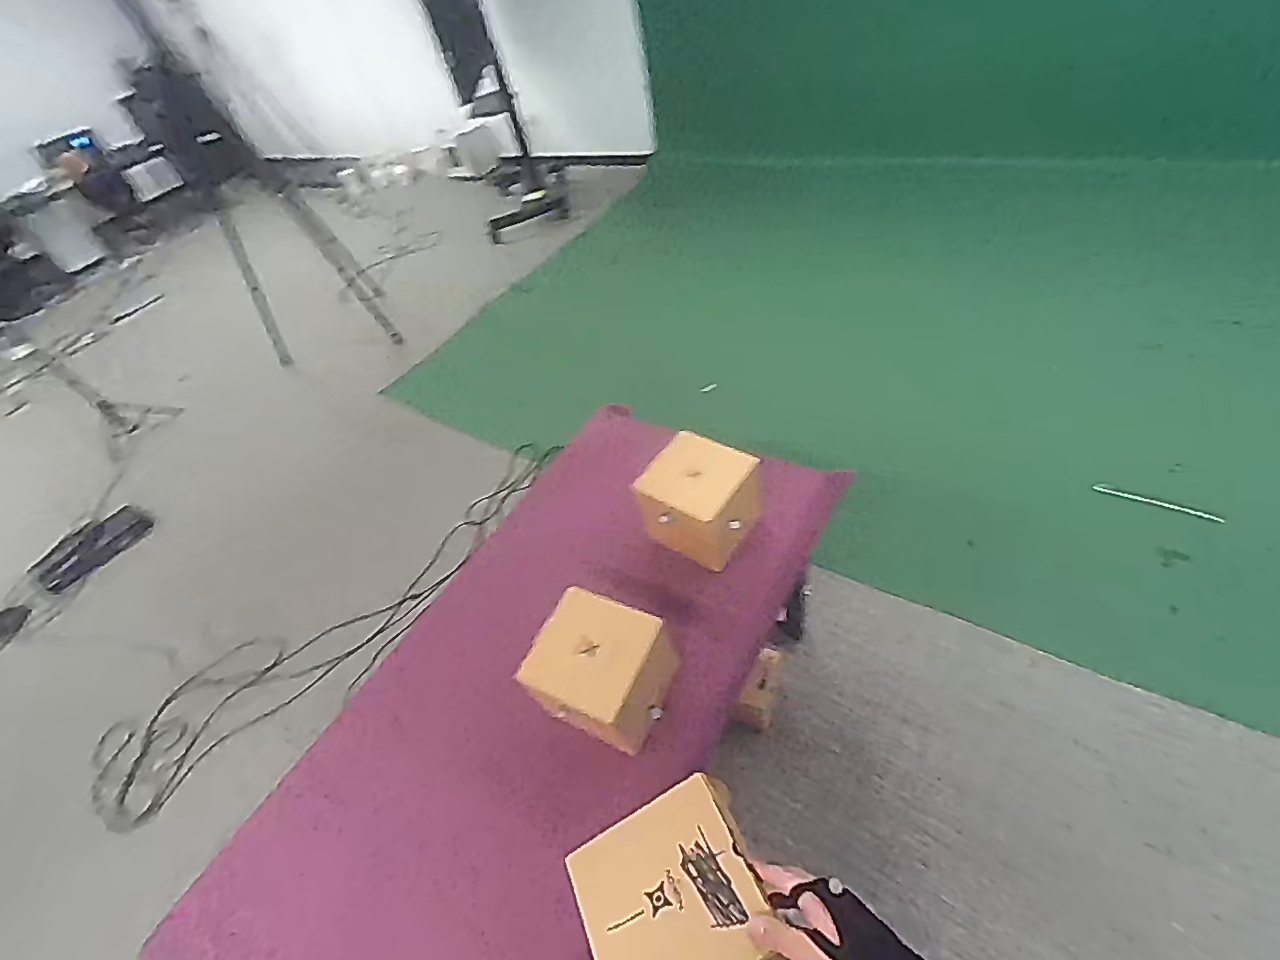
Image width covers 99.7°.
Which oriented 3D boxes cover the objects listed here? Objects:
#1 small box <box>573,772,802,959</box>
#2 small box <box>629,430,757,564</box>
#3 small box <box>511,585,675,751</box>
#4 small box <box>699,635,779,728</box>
[{"bbox_3d":[0.056,0.455,0.578,0.179,0.176,0.168,-29,43,-6],"label":"small box"},{"bbox_3d":[0.111,0.037,1.041,0.179,0.176,0.168,24,60,33],"label":"small box"},{"bbox_3d":[-0.064,0.299,0.856,0.179,0.176,0.168,14,55,27],"label":"small box"},{"bbox_3d":[0.282,0.567,1.514,0.179,0.176,0.168,12,53,25],"label":"small box"}]
